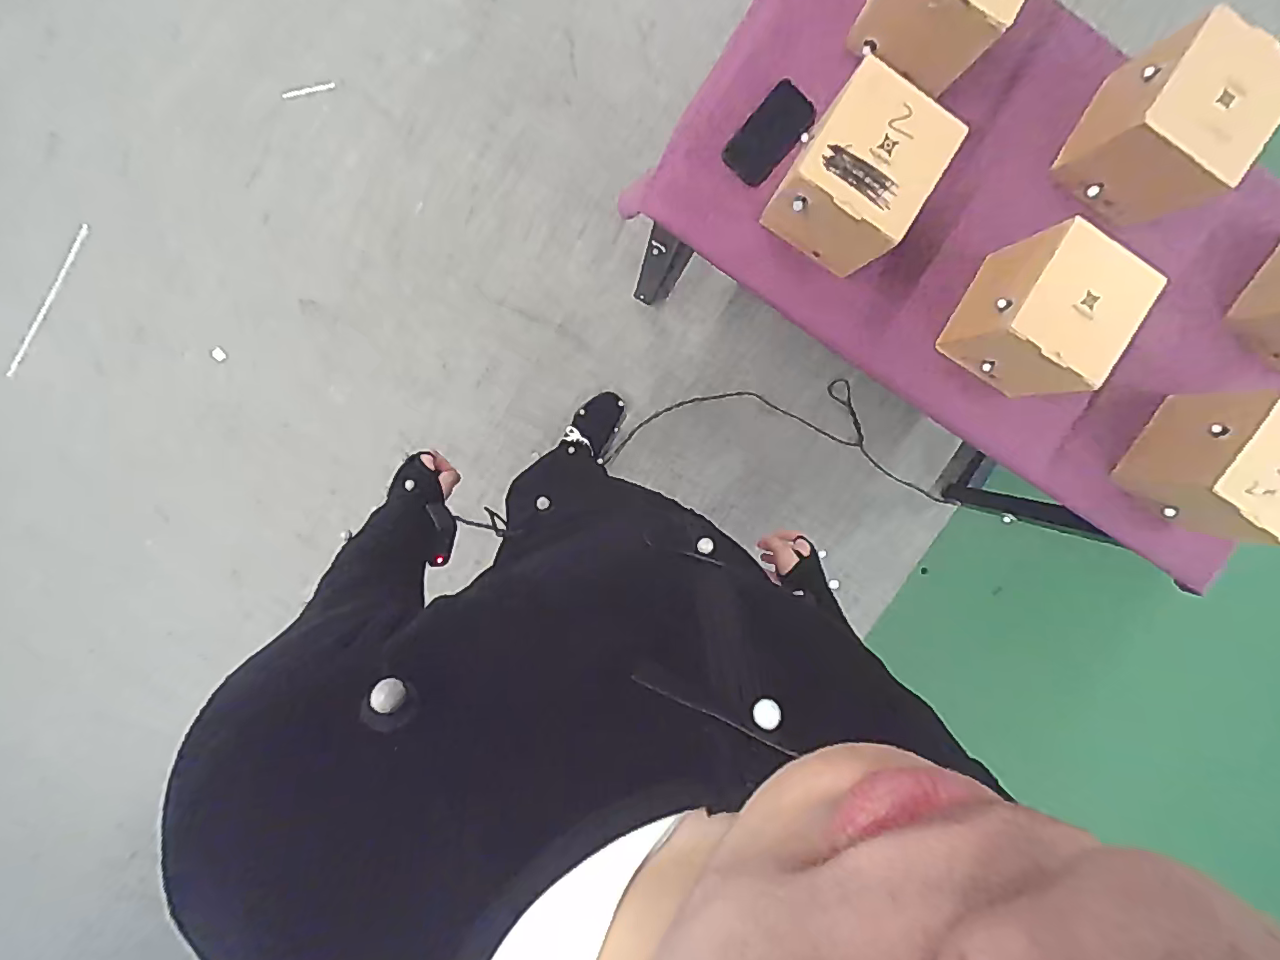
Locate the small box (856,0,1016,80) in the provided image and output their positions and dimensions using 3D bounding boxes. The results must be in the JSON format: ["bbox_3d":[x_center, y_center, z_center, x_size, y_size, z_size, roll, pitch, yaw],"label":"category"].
[{"bbox_3d":[0.426,-0.707,0.737,0.168,0.176,0.179,27,94,-7],"label":"small box"}]

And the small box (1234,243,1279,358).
[{"bbox_3d":[1.107,-0.303,0.835,0.168,0.176,0.179,34,94,-6],"label":"small box"}]

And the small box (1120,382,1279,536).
[{"bbox_3d":[0.931,-0.039,0.854,0.168,0.176,0.179,34,94,-6],"label":"small box"}]

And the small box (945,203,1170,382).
[{"bbox_3d":[0.603,-0.264,0.808,0.168,0.176,0.179,29,94,-7],"label":"small box"}]

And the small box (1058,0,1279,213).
[{"bbox_3d":[0.770,-0.533,0.784,0.168,0.176,0.179,31,95,-6],"label":"small box"}]
